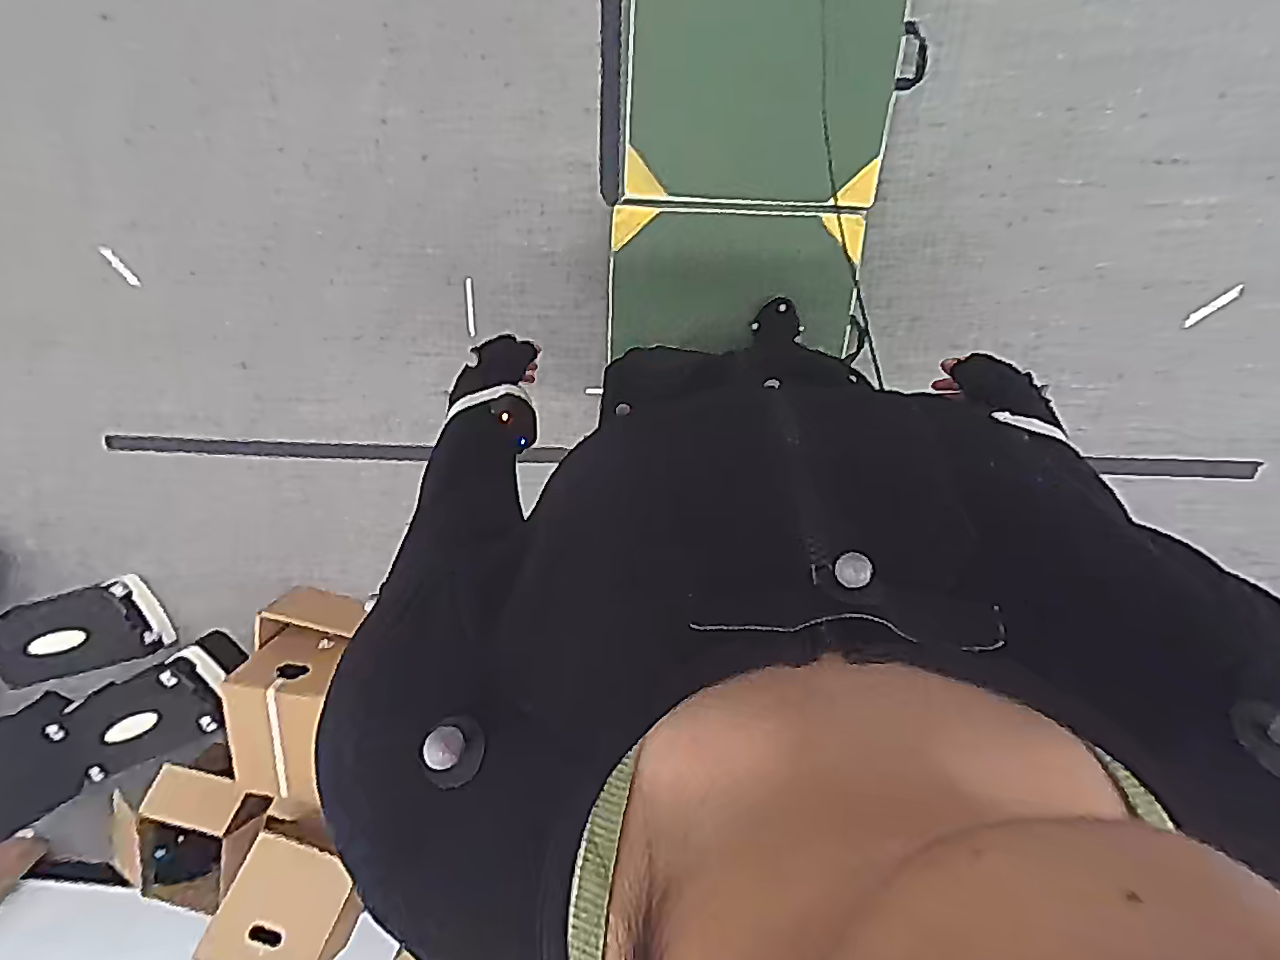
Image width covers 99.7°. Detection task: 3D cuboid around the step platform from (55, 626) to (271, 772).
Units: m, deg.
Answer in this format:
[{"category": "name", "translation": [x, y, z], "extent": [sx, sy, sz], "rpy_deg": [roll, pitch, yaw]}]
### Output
[{"category": "step platform", "translation": [-1.690, 0.782, 1.917], "extent": [0.684, 0.204, 0.286], "rpy_deg": [-26, 105, 12]}]
